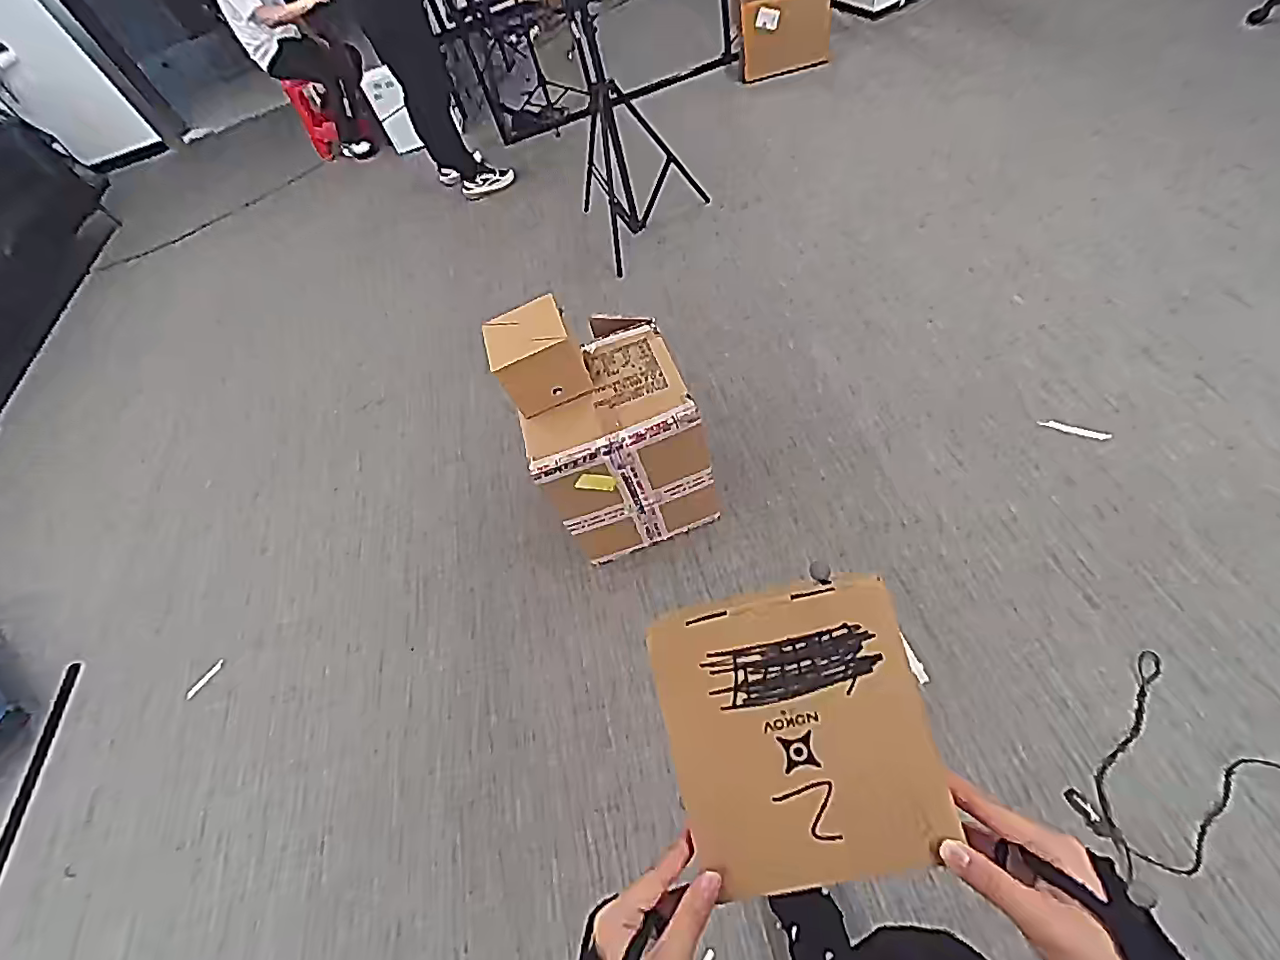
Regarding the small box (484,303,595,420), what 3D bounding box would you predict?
[{"bbox_3d":[-0.228,-0.273,1.232,0.179,0.176,0.168,-23,55,3],"label":"small box"}]
